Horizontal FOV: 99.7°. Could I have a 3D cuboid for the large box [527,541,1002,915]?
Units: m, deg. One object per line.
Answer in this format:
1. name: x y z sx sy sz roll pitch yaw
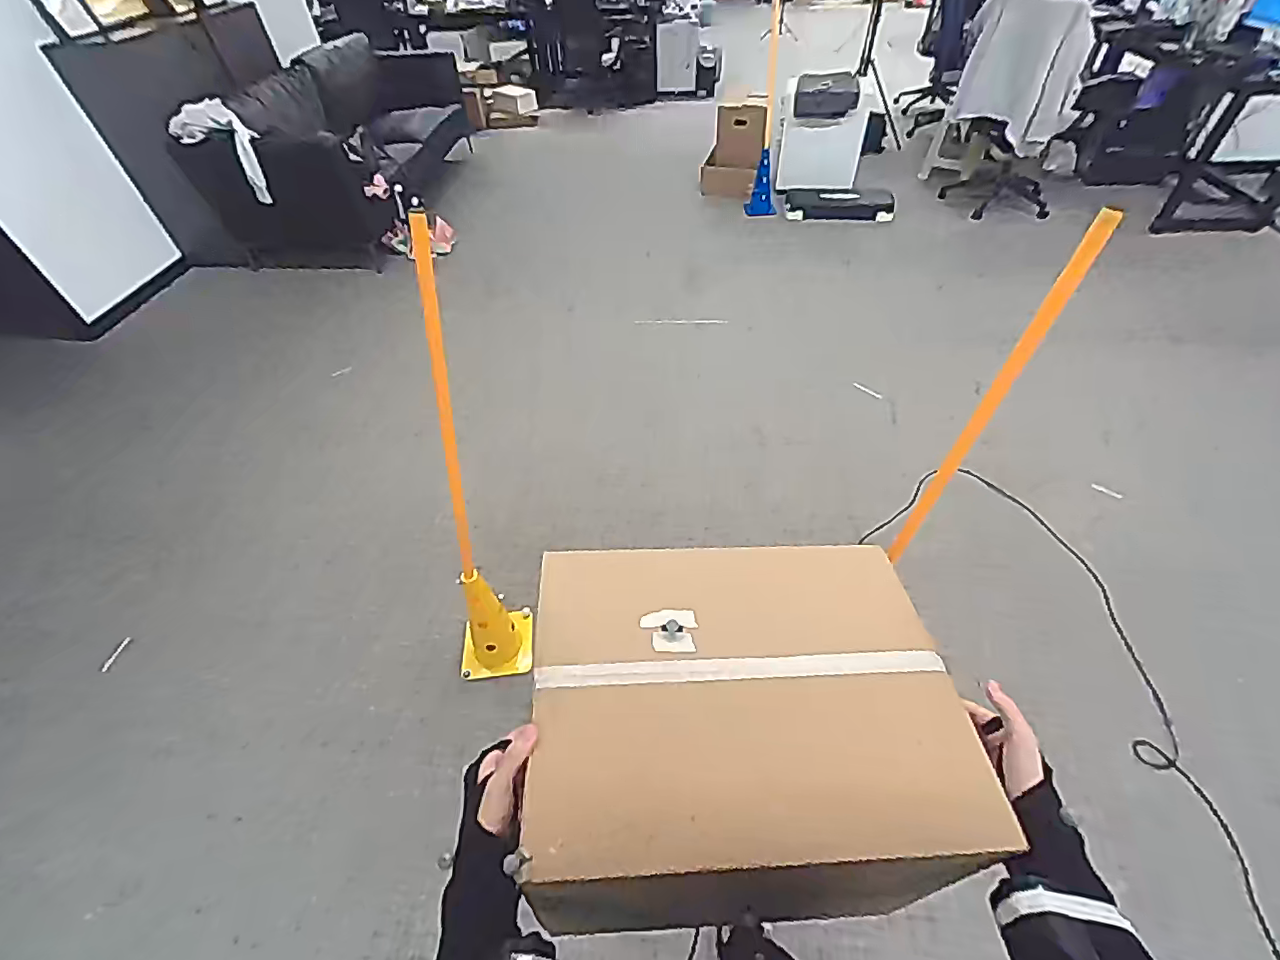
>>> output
1. large box: 0.095 0.293 0.645 0.408 0.320 0.320 -1 44 -4
